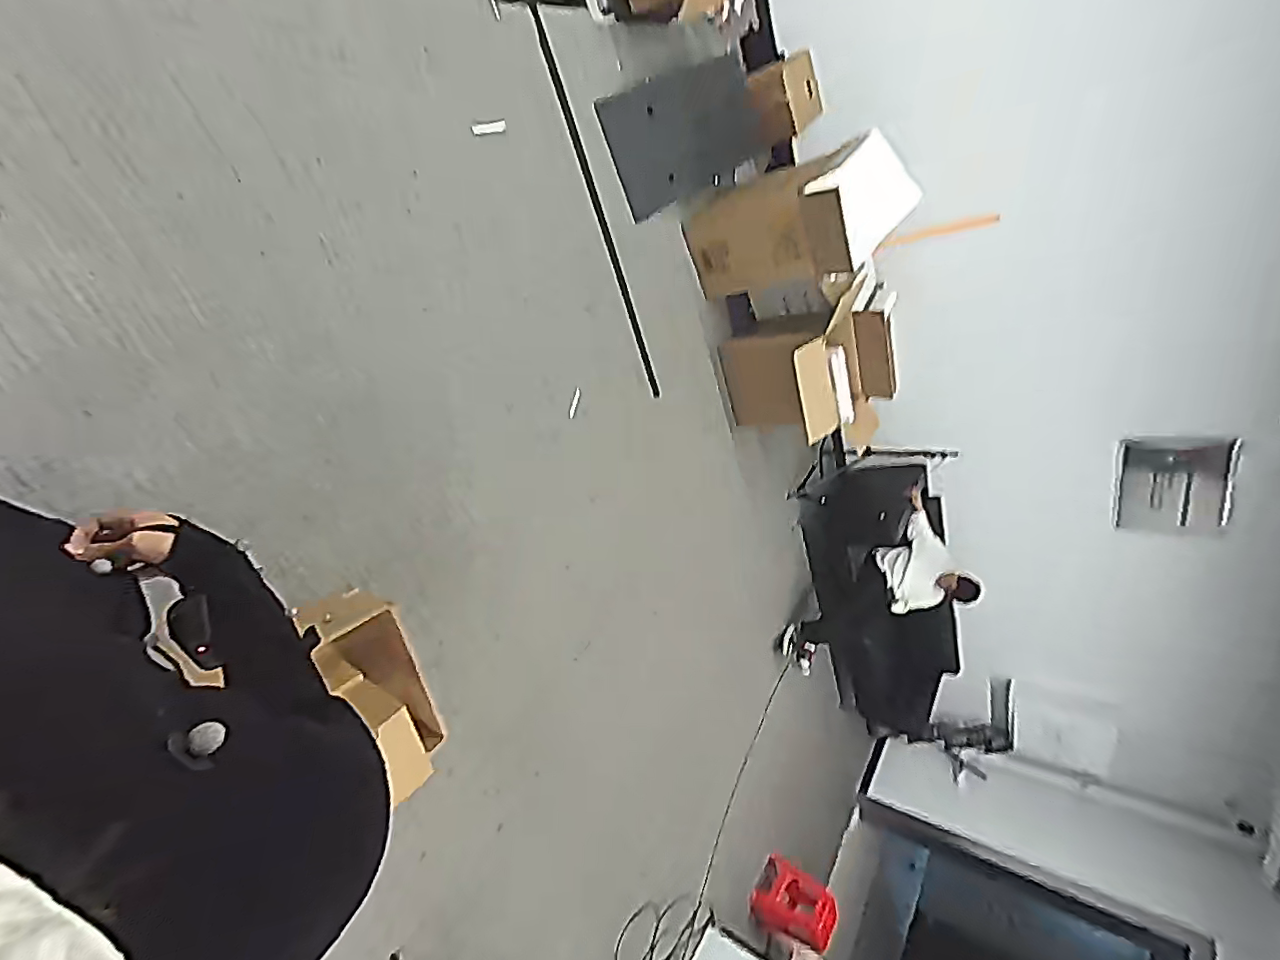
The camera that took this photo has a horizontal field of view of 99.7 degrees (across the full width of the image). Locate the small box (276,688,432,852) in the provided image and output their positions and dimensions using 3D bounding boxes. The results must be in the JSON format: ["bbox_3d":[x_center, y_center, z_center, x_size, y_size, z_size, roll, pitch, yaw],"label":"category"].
[{"bbox_3d":[-0.526,0.519,0.998,0.179,0.176,0.168,-32,118,-43],"label":"small box"}]
